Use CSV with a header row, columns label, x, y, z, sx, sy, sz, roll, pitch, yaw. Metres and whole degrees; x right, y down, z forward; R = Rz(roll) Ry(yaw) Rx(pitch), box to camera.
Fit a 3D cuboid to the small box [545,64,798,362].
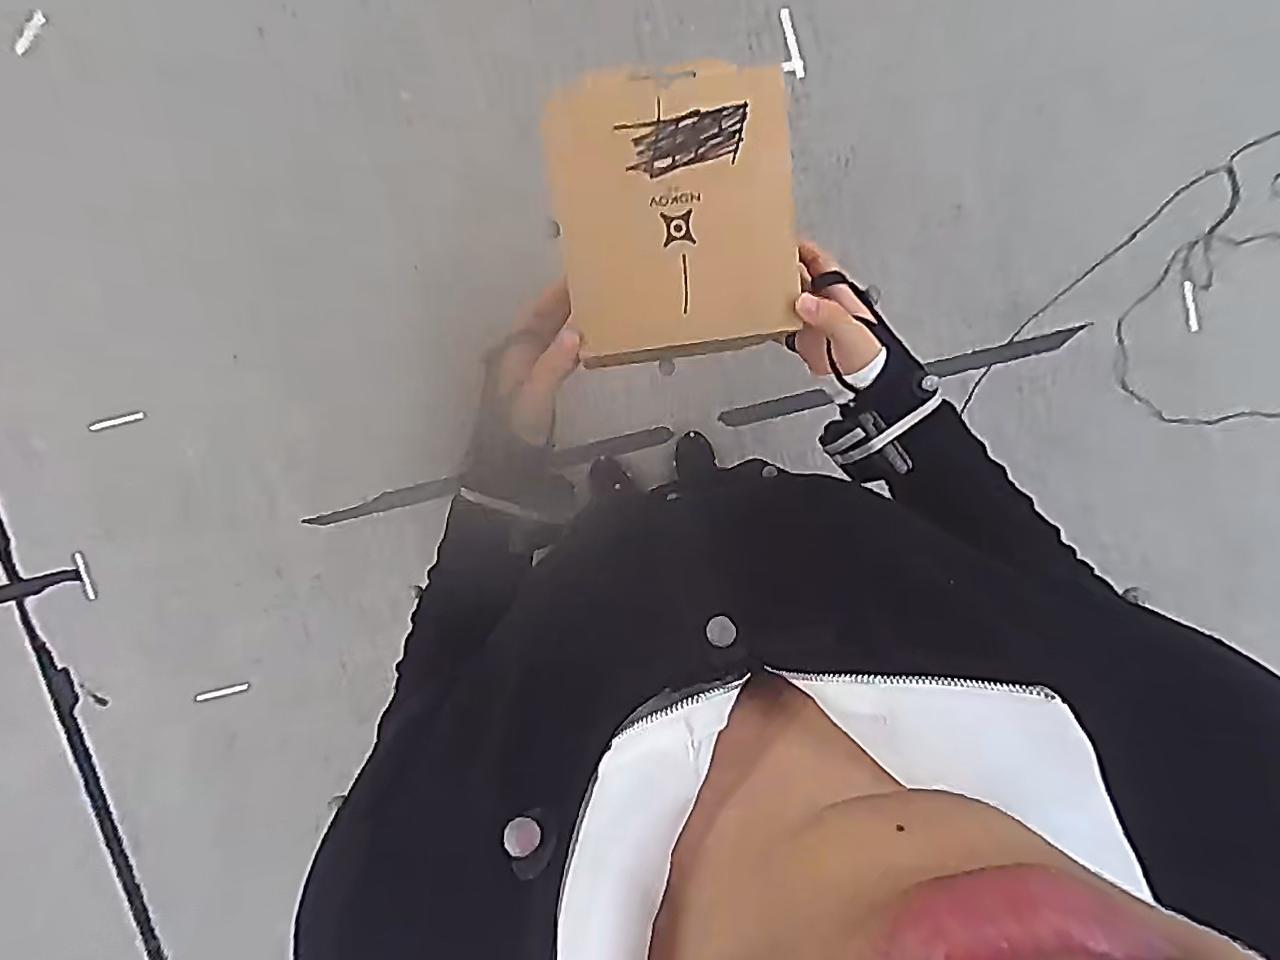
label,x,y,z,sx,sy,sz,roll,pitch,yaw
small box,0.019,-0.200,0.454,0.168,0.176,0.179,-8,100,-3
